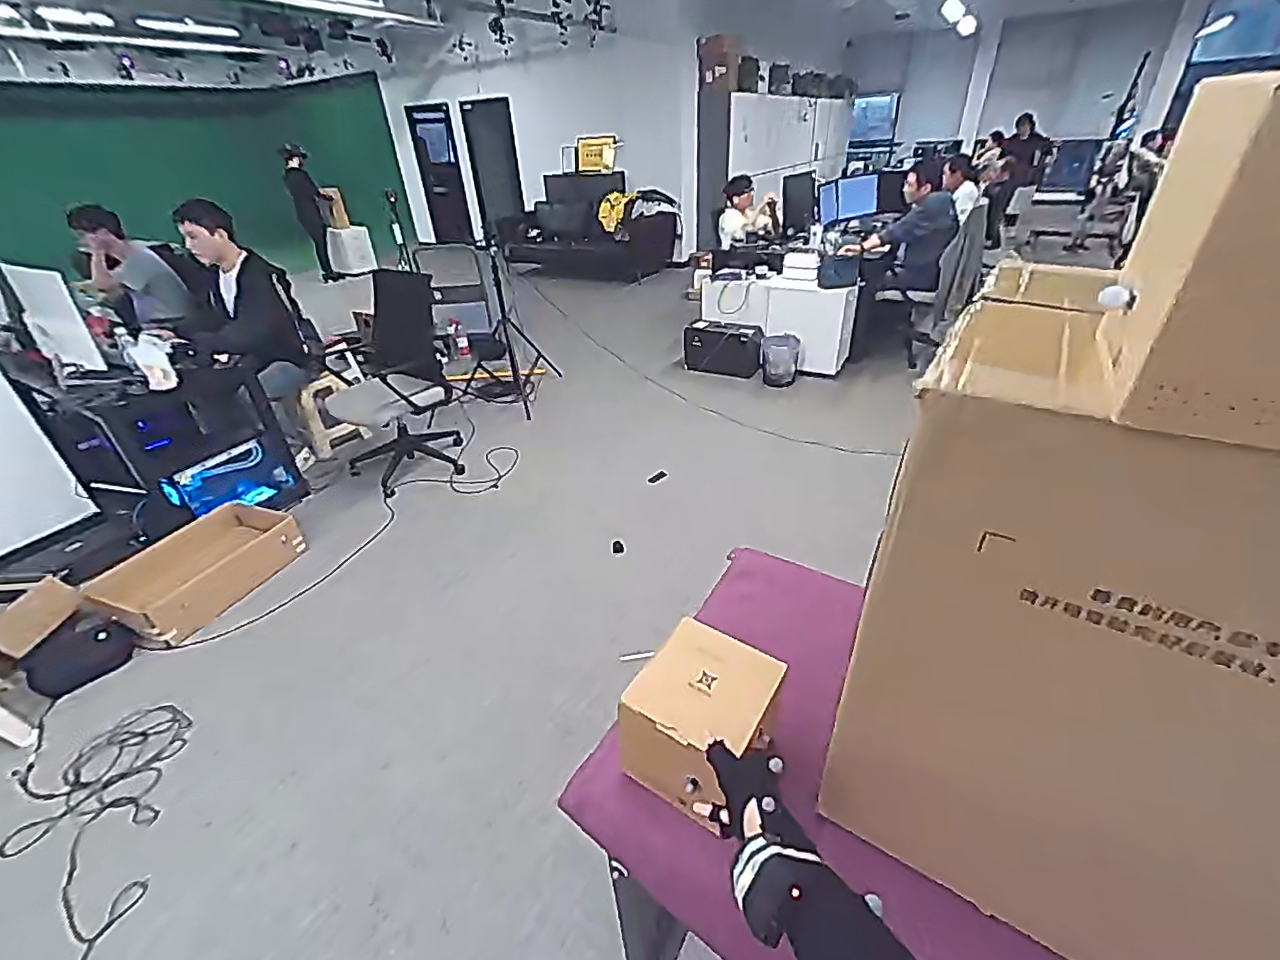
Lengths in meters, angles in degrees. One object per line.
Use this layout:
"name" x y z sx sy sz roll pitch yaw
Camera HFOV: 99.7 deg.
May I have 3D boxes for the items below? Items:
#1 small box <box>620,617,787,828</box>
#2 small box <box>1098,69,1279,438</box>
"small box" 0.089 0.336 0.759 0.168 0.176 0.179 20 37 28
"small box" 0.391 -0.123 0.292 0.179 0.176 0.168 15 38 29
